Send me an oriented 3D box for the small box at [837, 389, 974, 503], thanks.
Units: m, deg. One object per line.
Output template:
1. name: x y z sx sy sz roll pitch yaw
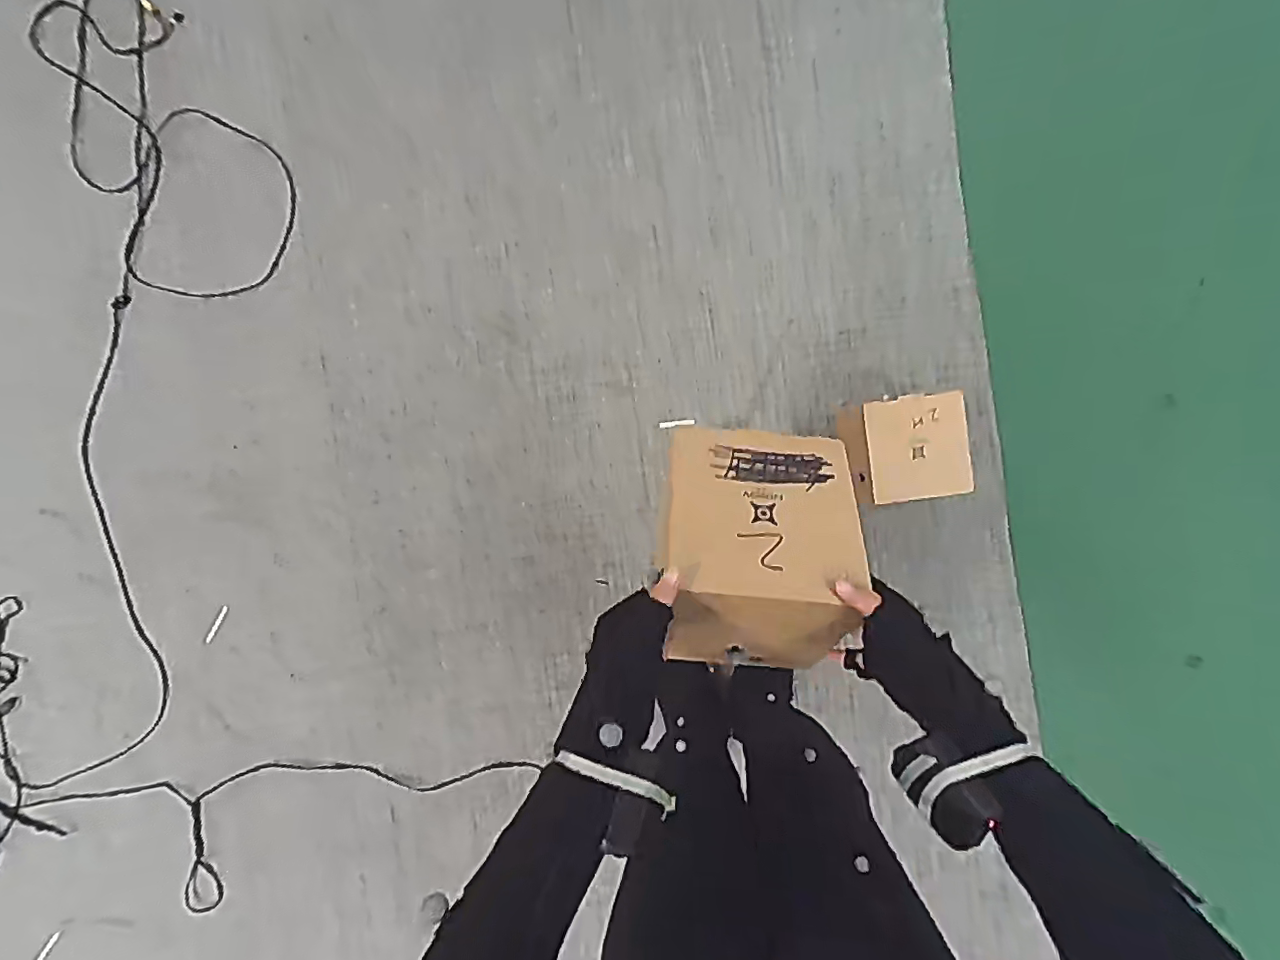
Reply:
1. small box: 0.471 -0.060 0.980 0.168 0.176 0.179 -8 91 4
